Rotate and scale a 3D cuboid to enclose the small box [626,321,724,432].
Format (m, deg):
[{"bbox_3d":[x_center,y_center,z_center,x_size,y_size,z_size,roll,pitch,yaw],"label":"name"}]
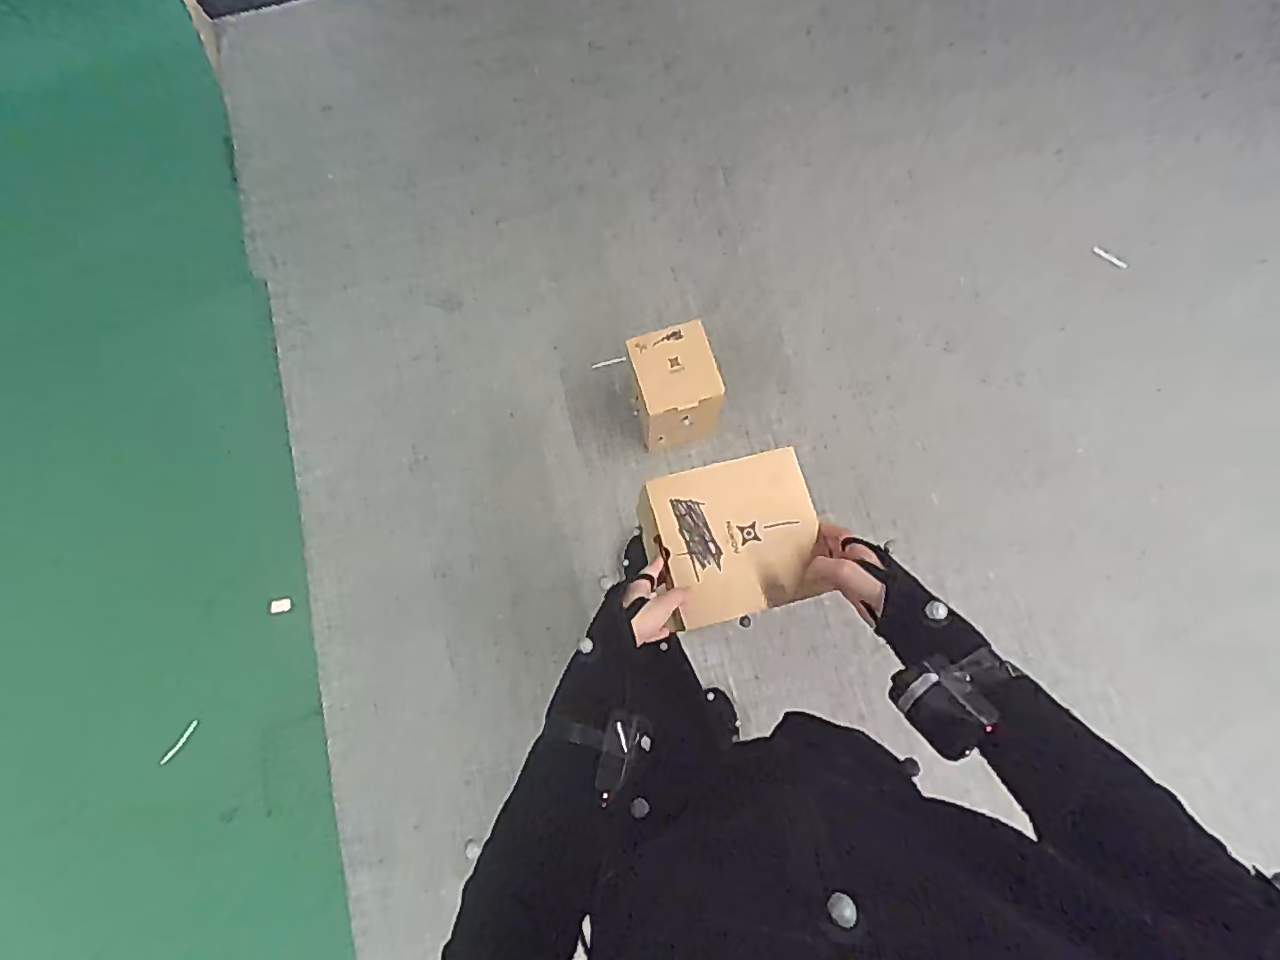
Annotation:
[{"bbox_3d":[0.073,-0.215,1.183,0.168,0.176,0.179,-16,80,-3],"label":"small box"}]

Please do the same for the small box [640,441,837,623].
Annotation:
[{"bbox_3d":[0.099,0.072,0.649,0.179,0.176,0.168,-13,76,-7],"label":"small box"}]
